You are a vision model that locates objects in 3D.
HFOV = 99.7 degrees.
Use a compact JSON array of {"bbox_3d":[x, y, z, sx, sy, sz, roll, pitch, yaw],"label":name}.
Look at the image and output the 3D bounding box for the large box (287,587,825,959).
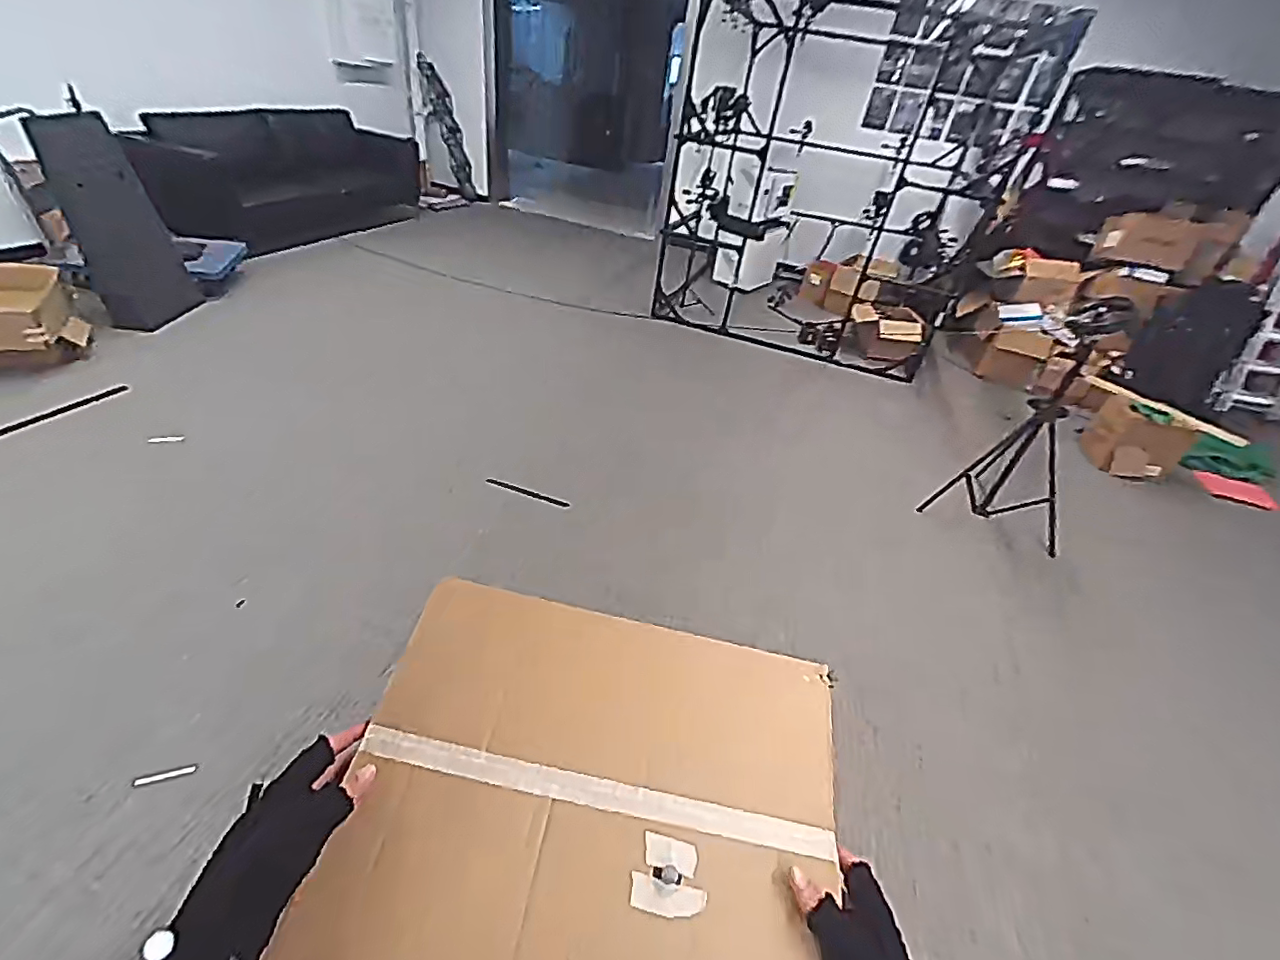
[{"bbox_3d":[-0.056,0.360,0.589,0.408,0.320,0.320,13,52,0],"label":"large box"}]
